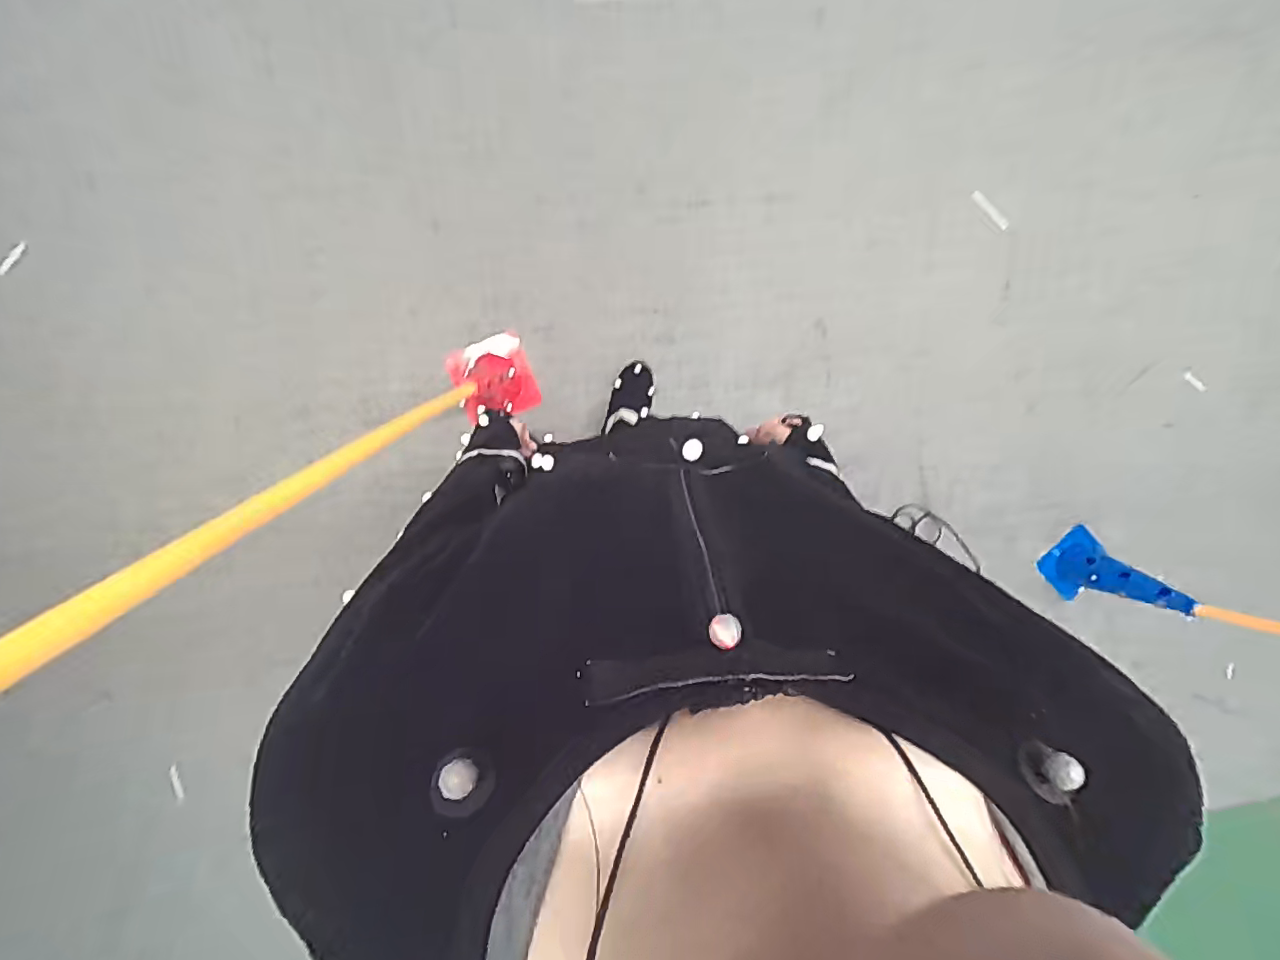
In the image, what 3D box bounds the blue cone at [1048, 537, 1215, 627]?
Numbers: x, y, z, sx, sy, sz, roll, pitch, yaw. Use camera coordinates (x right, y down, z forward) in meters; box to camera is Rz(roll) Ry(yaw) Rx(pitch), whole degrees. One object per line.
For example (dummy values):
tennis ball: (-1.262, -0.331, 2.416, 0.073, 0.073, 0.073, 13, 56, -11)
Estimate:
blue cone: (1.423, 0.322, 1.559, 0.192, 0.380, 0.193, 41, 92, -12)
